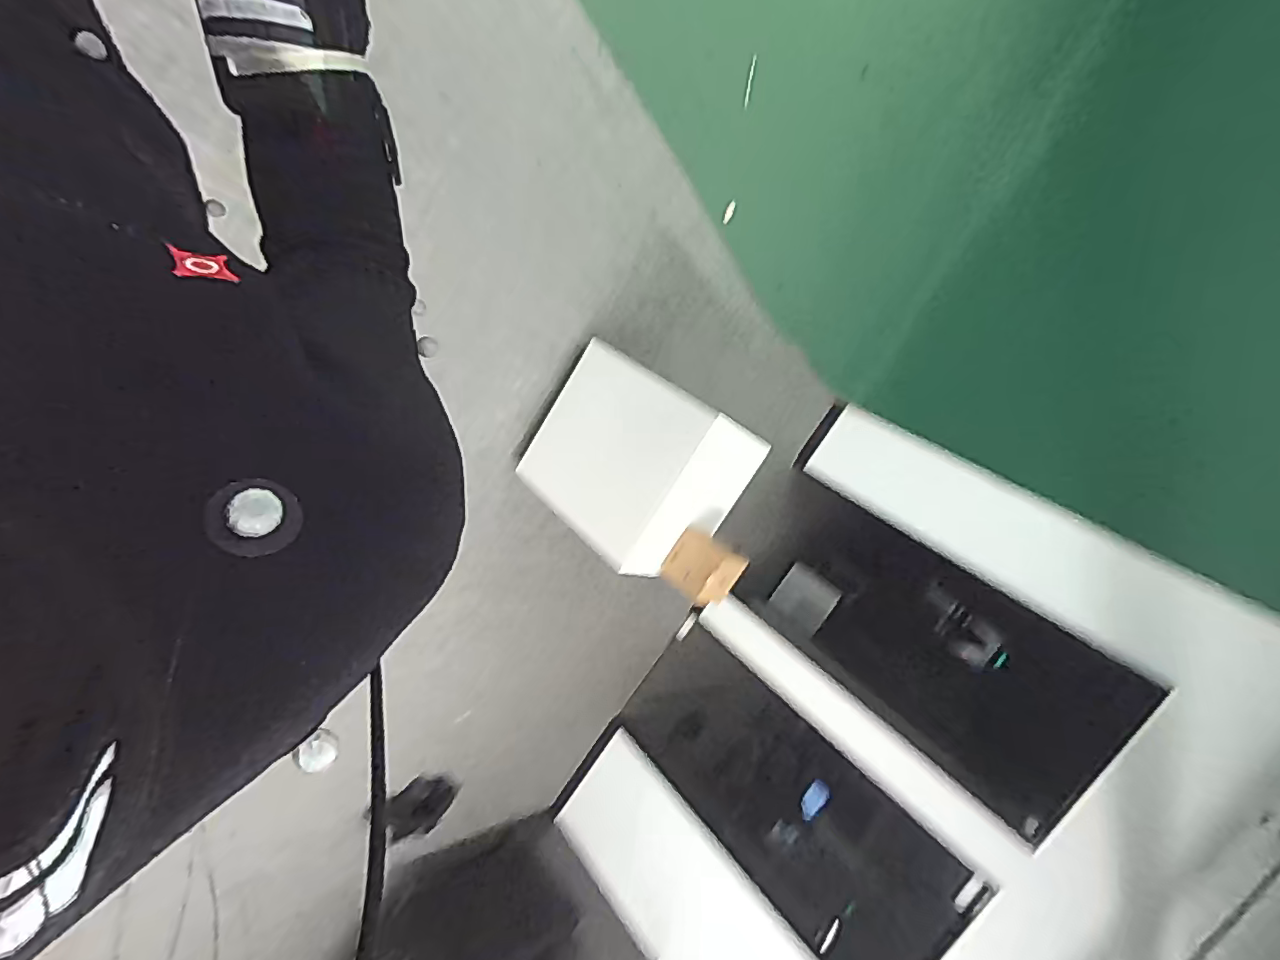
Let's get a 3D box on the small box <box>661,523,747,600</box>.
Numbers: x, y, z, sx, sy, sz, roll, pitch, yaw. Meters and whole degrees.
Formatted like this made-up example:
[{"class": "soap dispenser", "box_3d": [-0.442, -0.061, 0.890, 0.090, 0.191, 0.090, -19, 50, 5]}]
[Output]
[{"class": "small box", "box_3d": [0.196, 0.253, 1.685, 0.168, 0.176, 0.179, -56, 147, 8]}]
